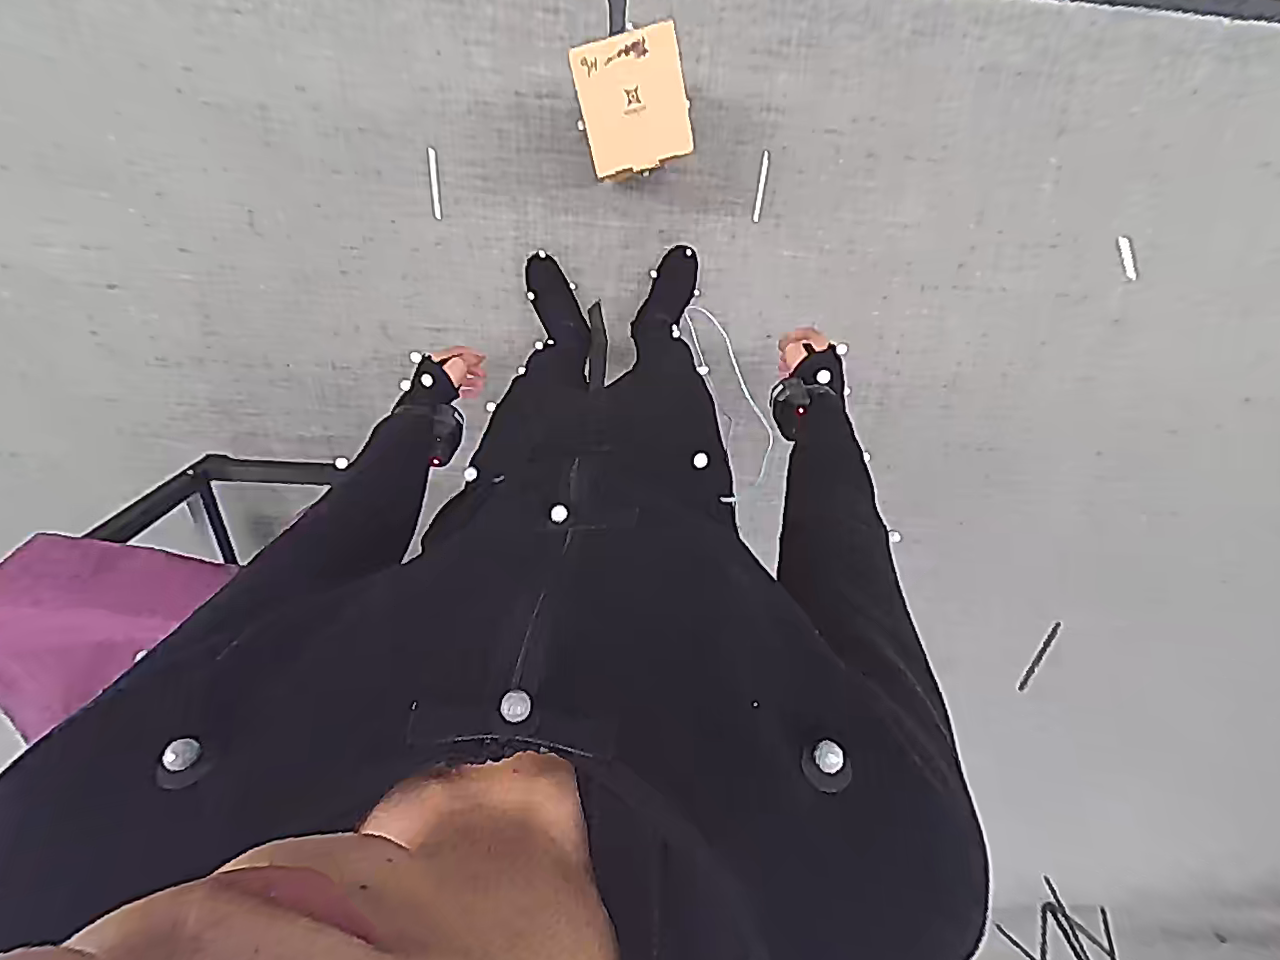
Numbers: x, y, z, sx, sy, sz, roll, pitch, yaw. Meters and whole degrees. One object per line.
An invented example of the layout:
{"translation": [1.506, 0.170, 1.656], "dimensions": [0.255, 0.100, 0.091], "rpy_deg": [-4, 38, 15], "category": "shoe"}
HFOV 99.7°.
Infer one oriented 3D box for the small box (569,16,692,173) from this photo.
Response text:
{"translation": [-0.011, -0.637, 0.913], "dimensions": [0.168, 0.176, 0.179], "rpy_deg": [-12, 120, 5], "category": "small box"}
